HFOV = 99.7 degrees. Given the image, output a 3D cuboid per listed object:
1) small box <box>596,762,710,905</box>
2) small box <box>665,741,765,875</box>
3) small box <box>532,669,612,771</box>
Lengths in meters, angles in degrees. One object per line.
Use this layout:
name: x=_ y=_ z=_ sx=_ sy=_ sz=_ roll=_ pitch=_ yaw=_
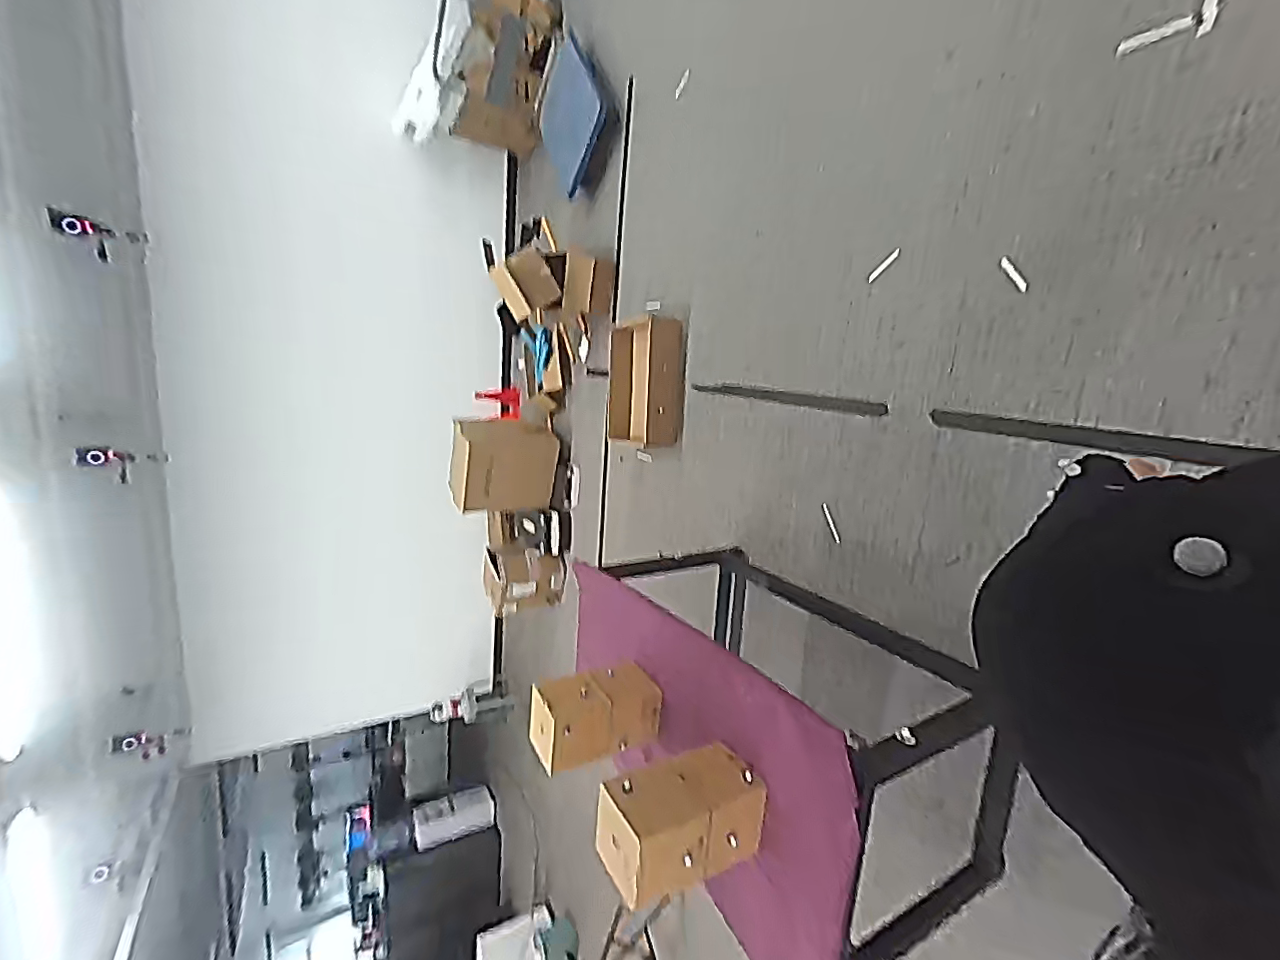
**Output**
small box: x=0.024 y=0.726 z=1.139 sx=0.179 sy=0.176 sz=0.168 roll=22 pitch=110 yaw=57
small box: x=0.163 y=0.729 z=1.227 sx=0.168 sy=0.176 sz=0.179 roll=23 pitch=112 yaw=57
small box: x=-0.190 y=0.655 z=1.494 sx=0.168 sy=0.176 sz=0.179 roll=27 pitch=114 yaw=56
